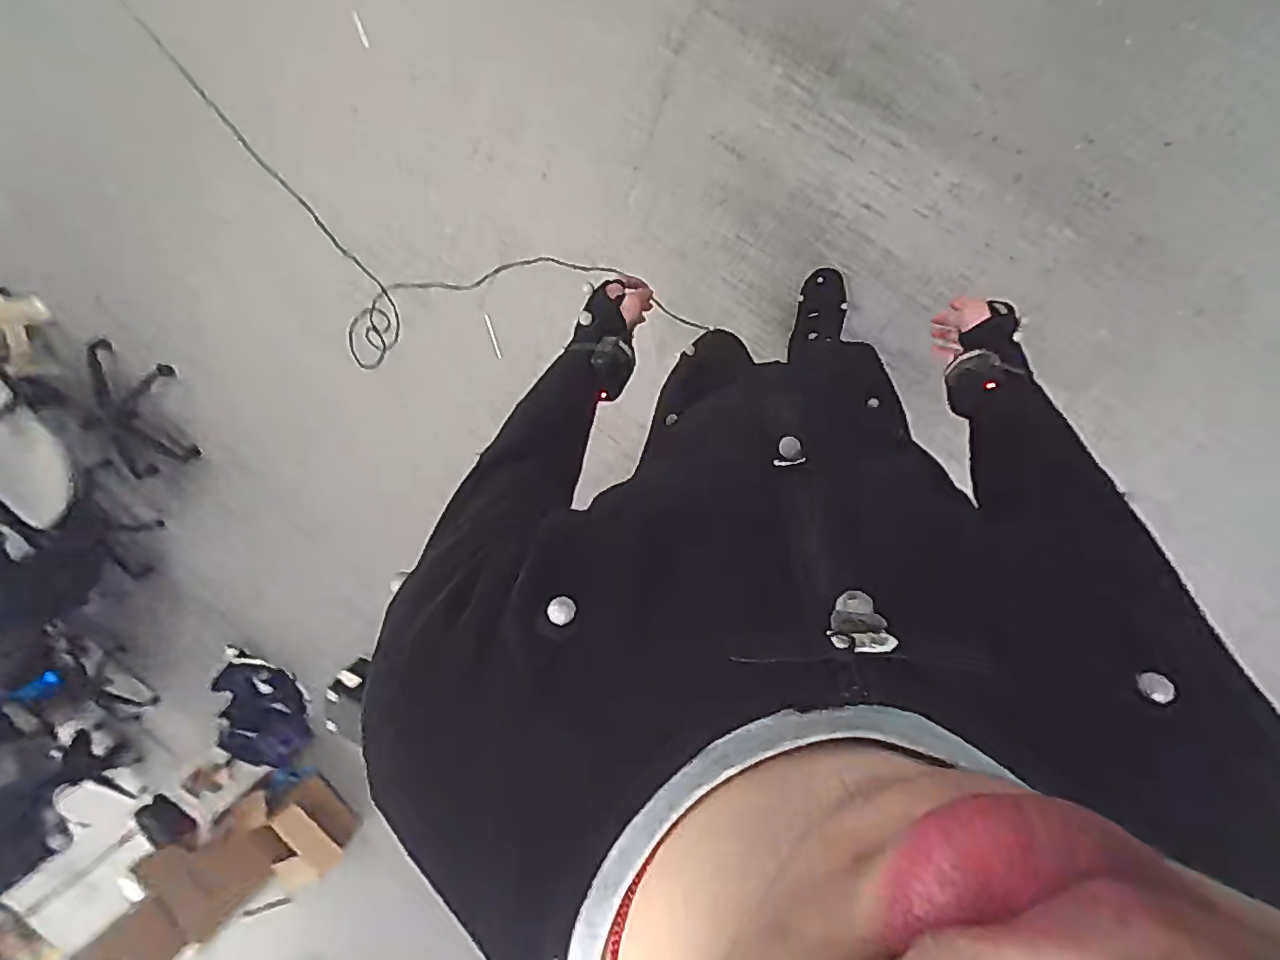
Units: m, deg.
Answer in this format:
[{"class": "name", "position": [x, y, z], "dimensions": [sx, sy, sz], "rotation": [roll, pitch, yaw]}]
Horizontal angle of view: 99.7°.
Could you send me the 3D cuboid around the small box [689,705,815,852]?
[{"class": "small box", "position": [0.230, 0.589, 1.091], "dimensions": [0.179, 0.176, 0.168], "rotation": [35, 119, 4]}]
